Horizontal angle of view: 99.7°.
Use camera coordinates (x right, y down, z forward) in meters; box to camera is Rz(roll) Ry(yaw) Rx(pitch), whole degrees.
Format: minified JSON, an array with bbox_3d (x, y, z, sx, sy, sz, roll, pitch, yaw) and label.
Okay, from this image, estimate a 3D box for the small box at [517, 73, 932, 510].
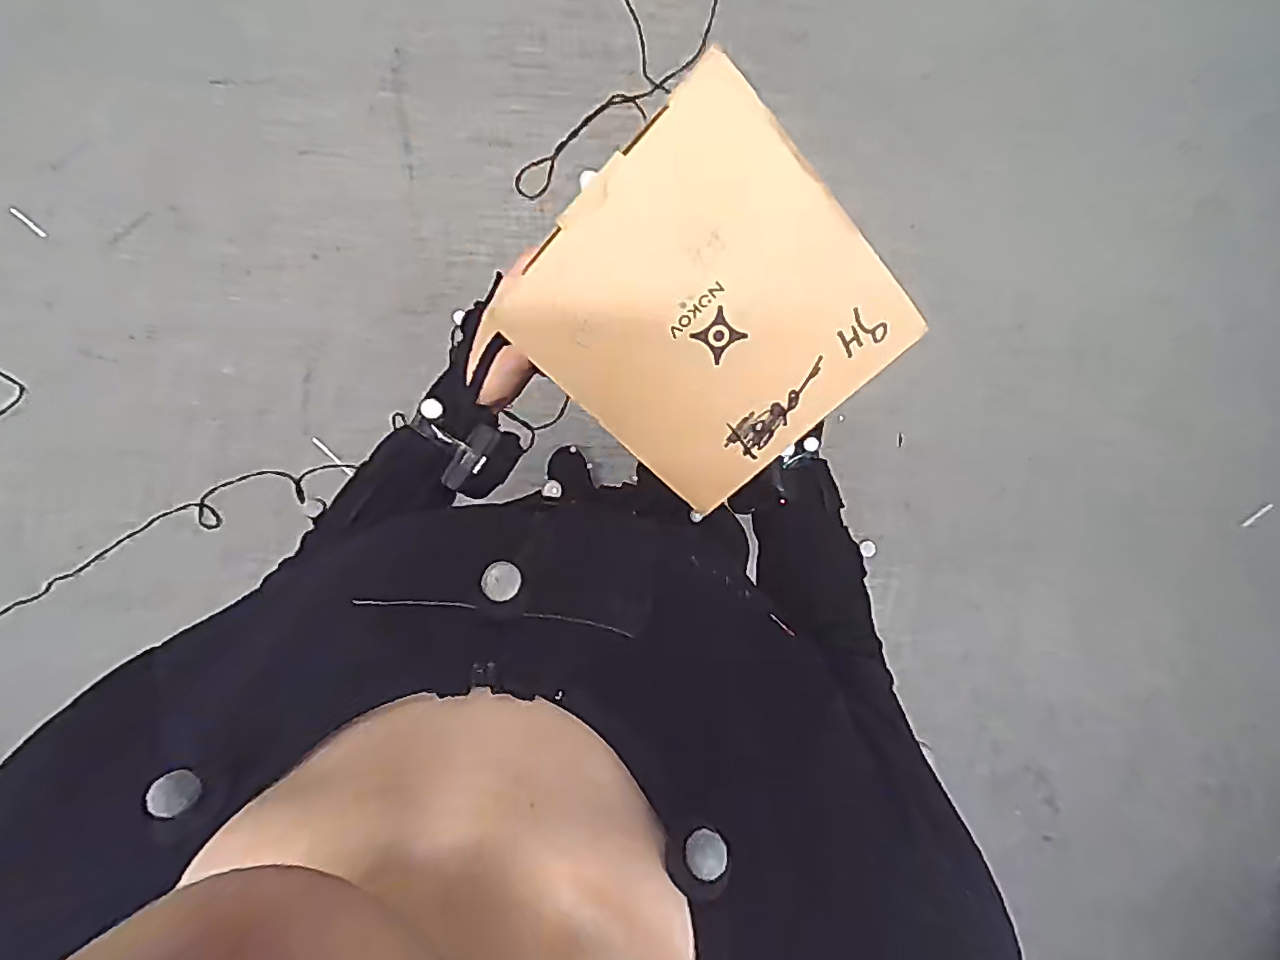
[{"bbox_3d":[0.047,-0.118,0.373,0.168,0.176,0.179,-42,109,18],"label":"small box"}]
